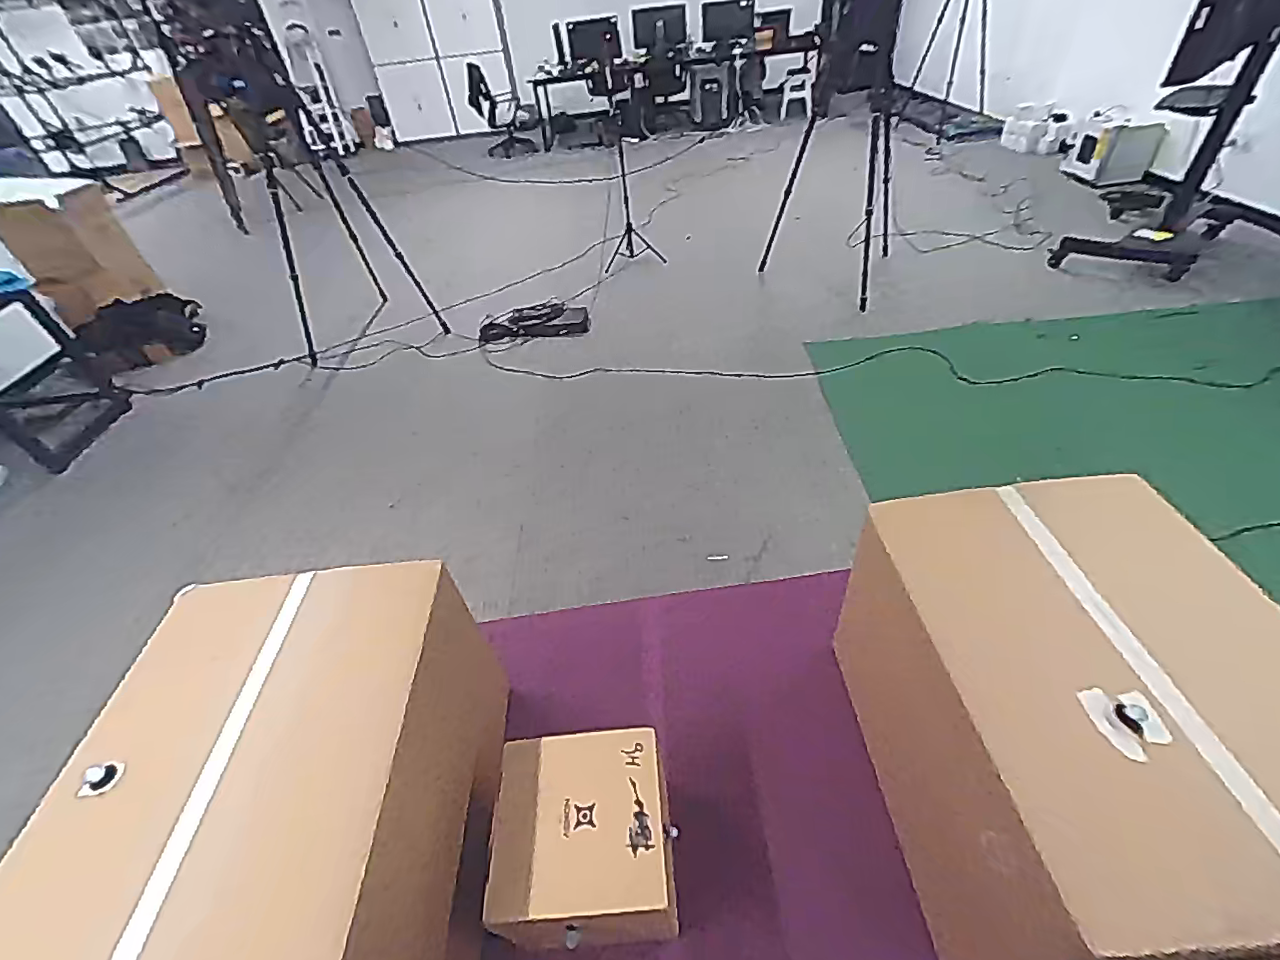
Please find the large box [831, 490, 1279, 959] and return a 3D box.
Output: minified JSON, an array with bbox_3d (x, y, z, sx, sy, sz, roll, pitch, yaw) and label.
[{"bbox_3d":[0.444,0.266,0.595,0.320,0.320,0.408,-6,43,2],"label":"large box"}]
